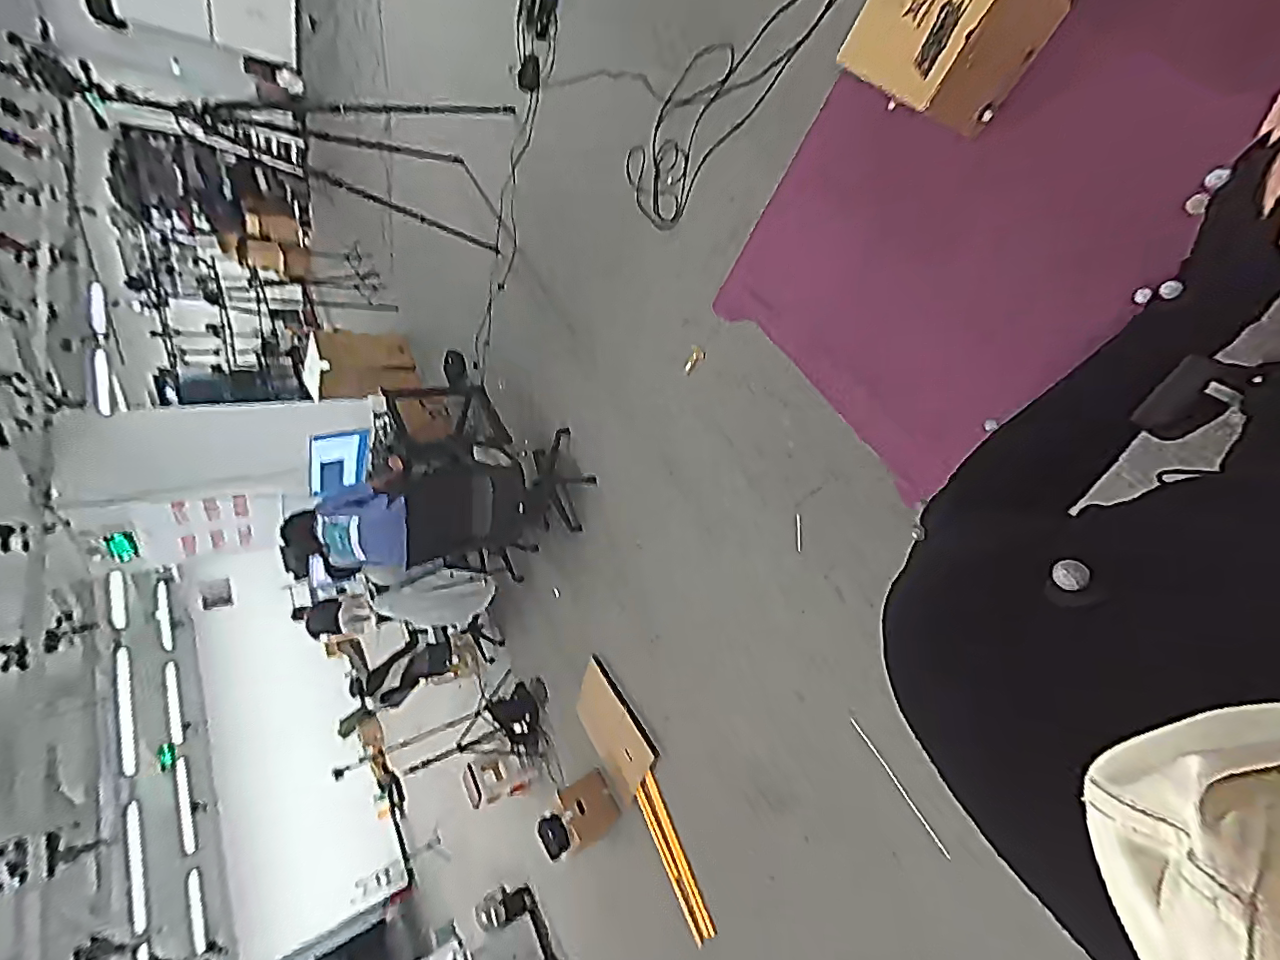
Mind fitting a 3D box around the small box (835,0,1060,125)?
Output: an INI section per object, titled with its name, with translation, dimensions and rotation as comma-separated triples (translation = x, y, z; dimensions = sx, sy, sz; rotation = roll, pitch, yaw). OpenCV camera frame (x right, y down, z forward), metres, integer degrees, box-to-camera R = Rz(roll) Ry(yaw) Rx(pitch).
[small box]
translation = 0.415, -0.614, 0.734
dimensions = 0.179, 0.176, 0.168
rotation = 56, 137, 27
